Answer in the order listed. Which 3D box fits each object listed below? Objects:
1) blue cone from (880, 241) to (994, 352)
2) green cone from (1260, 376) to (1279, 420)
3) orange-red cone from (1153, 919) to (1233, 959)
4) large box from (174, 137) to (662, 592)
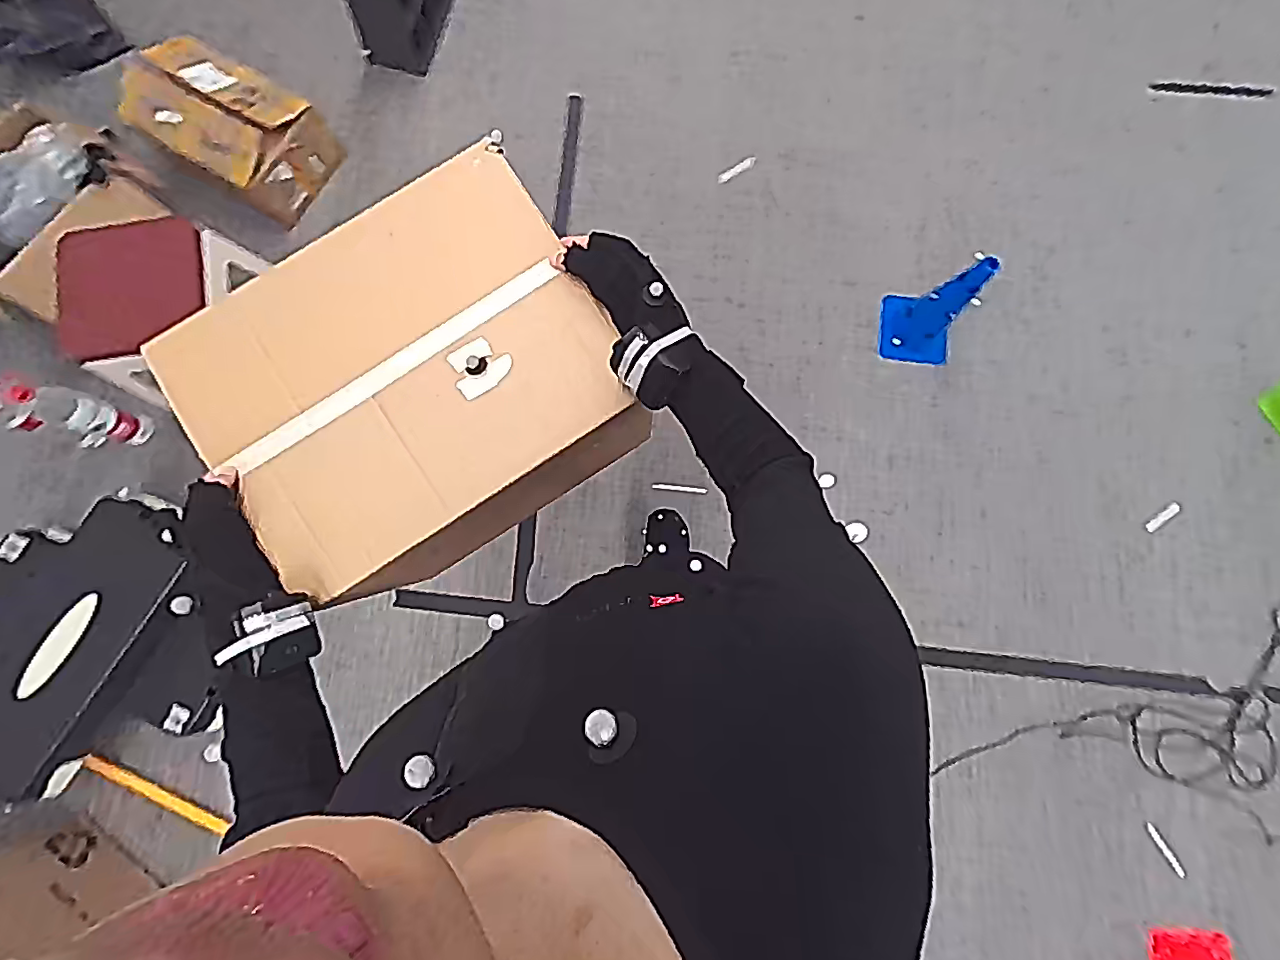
[{"bbox_3d":[0.804,-0.498,1.433,0.193,0.380,0.192,8,81,1],"label":"blue cone"},{"bbox_3d":[1.908,-0.252,1.378,0.200,0.368,0.202,-32,81,-5],"label":"green cone"},{"bbox_3d":[1.378,1.177,1.172,0.199,0.360,0.198,3,83,-1],"label":"orange-red cone"},{"bbox_3d":[-0.224,-0.108,0.685,0.408,0.320,0.320,-32,87,-3],"label":"large box"}]
